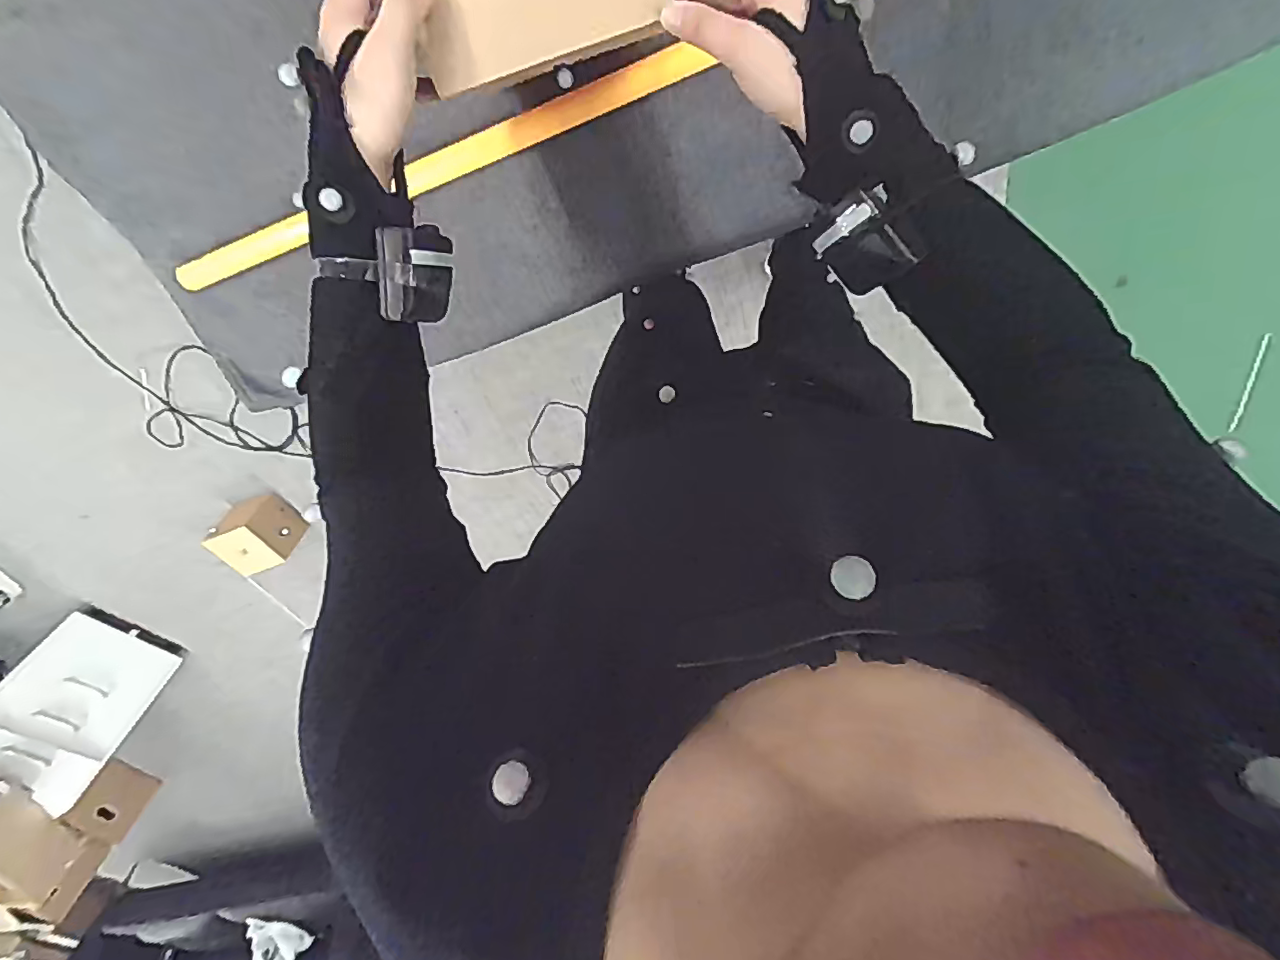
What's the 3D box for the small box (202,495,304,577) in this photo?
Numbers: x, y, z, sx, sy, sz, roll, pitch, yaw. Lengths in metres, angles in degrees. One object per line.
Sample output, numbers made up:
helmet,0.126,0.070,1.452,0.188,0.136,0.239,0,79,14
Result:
small box,-1.202,0.172,1.703,0.179,0.176,0.168,-19,126,14
